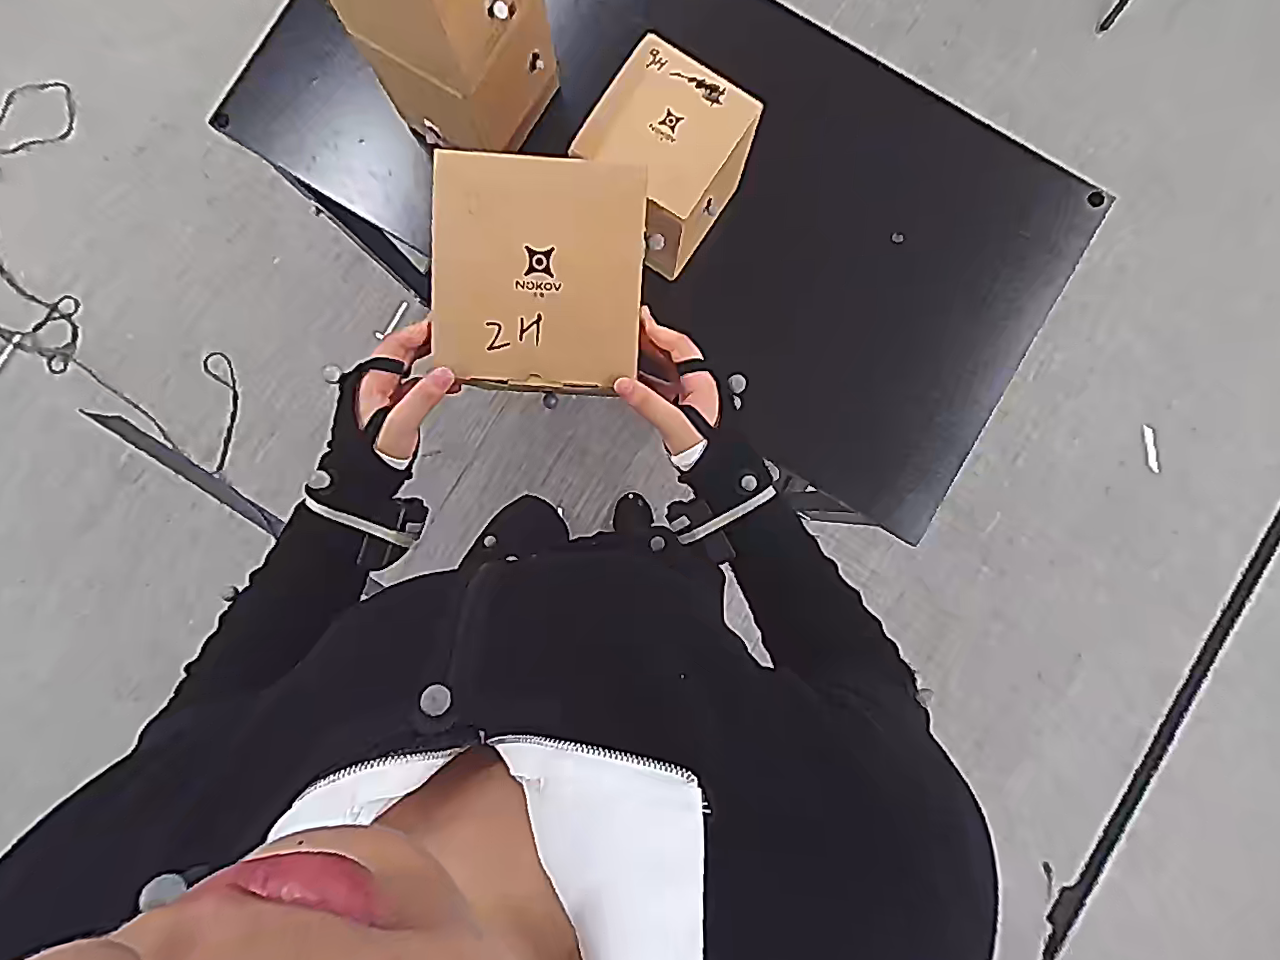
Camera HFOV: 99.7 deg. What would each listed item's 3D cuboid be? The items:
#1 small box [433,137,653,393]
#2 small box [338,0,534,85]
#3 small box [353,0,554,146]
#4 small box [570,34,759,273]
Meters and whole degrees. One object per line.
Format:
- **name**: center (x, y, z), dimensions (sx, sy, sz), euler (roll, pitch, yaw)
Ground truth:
- **small box**: center (-0.080, -0.179, 0.503), dimensions (0.168, 0.176, 0.179), euler (3, 96, -2)
- **small box**: center (-0.230, -0.565, 0.557), dimensions (0.179, 0.176, 0.168), euler (30, 87, 1)
- **small box**: center (-0.230, -0.559, 0.722), dimensions (0.168, 0.176, 0.179), euler (31, 88, 2)
- **small box**: center (0.029, -0.412, 0.717), dimensions (0.168, 0.176, 0.179), euler (33, 88, 1)
